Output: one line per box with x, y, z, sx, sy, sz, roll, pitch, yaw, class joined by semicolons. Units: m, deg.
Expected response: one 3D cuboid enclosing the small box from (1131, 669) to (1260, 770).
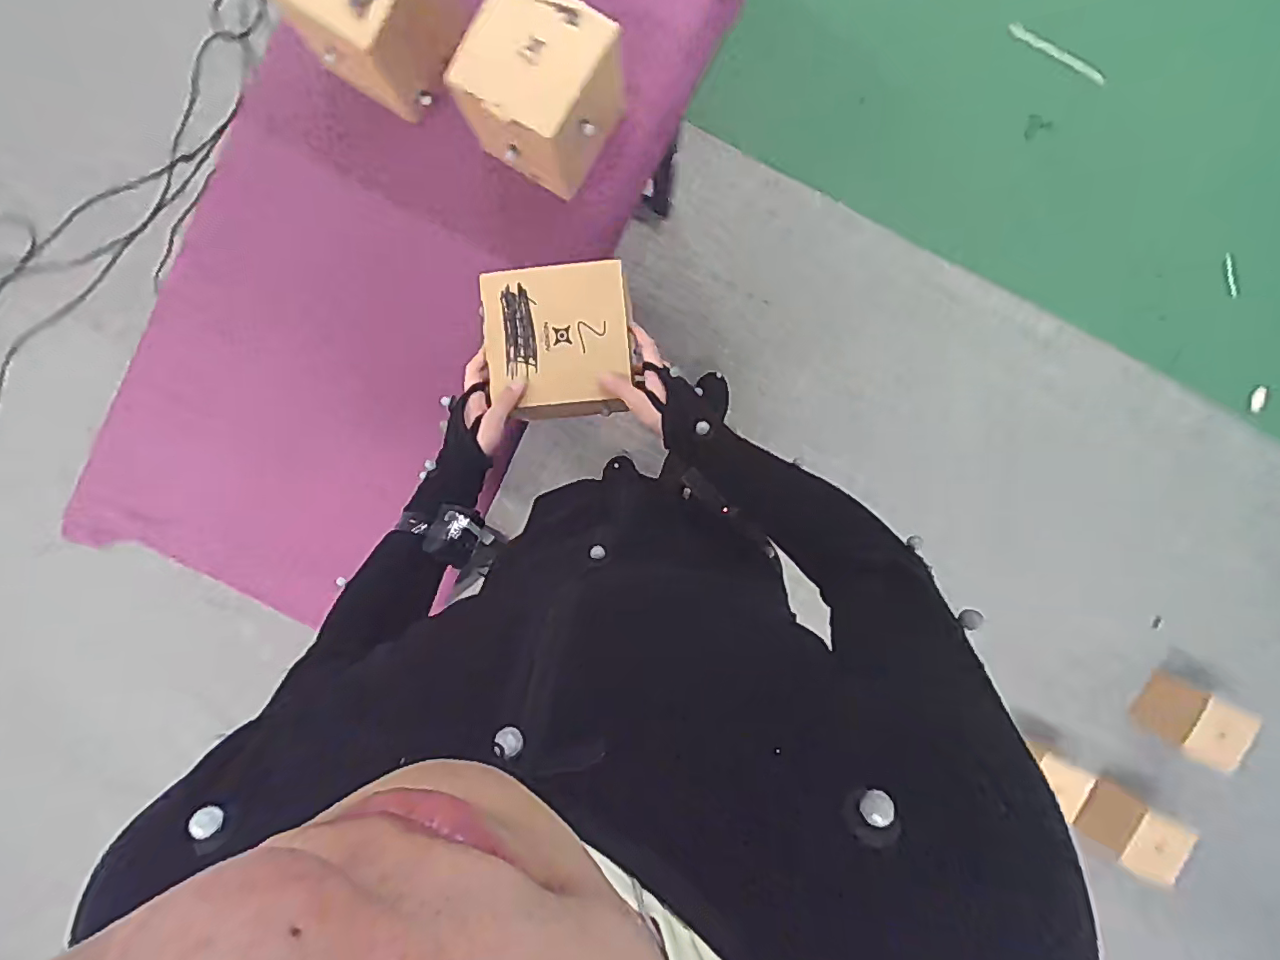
1.592;0.684;1.564;0.168;0.176;0.179;27;92;-2;small box

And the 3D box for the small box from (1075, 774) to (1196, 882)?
1.435;1.005;1.580;0.168;0.176;0.179;26;93;-1;small box

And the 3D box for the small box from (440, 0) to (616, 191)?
-0.144;-0.559;0.773;0.168;0.176;0.179;32;94;-1;small box

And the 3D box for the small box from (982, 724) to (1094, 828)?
1.148;0.852;1.576;0.168;0.176;0.179;26;94;-2;small box

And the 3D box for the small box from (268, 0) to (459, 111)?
-0.390;-0.675;0.769;0.179;0.176;0.168;32;93;-1;small box
